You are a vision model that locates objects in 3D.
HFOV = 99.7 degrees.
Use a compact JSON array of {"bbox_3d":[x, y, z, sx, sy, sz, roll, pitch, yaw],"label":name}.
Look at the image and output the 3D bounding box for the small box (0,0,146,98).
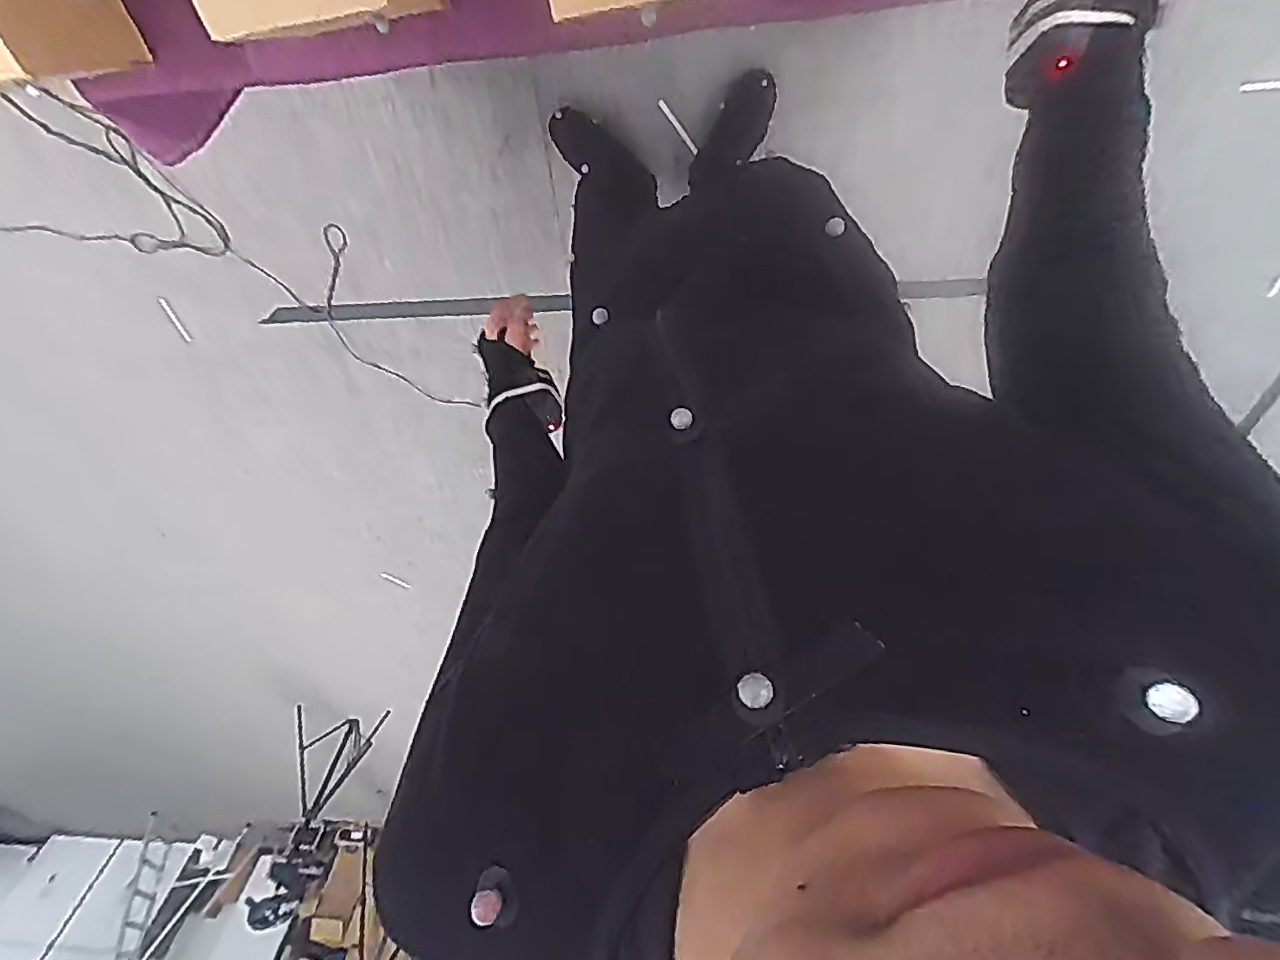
[{"bbox_3d":[-0.673,-0.488,0.538,0.179,0.176,0.168,-5,130,8],"label":"small box"}]
